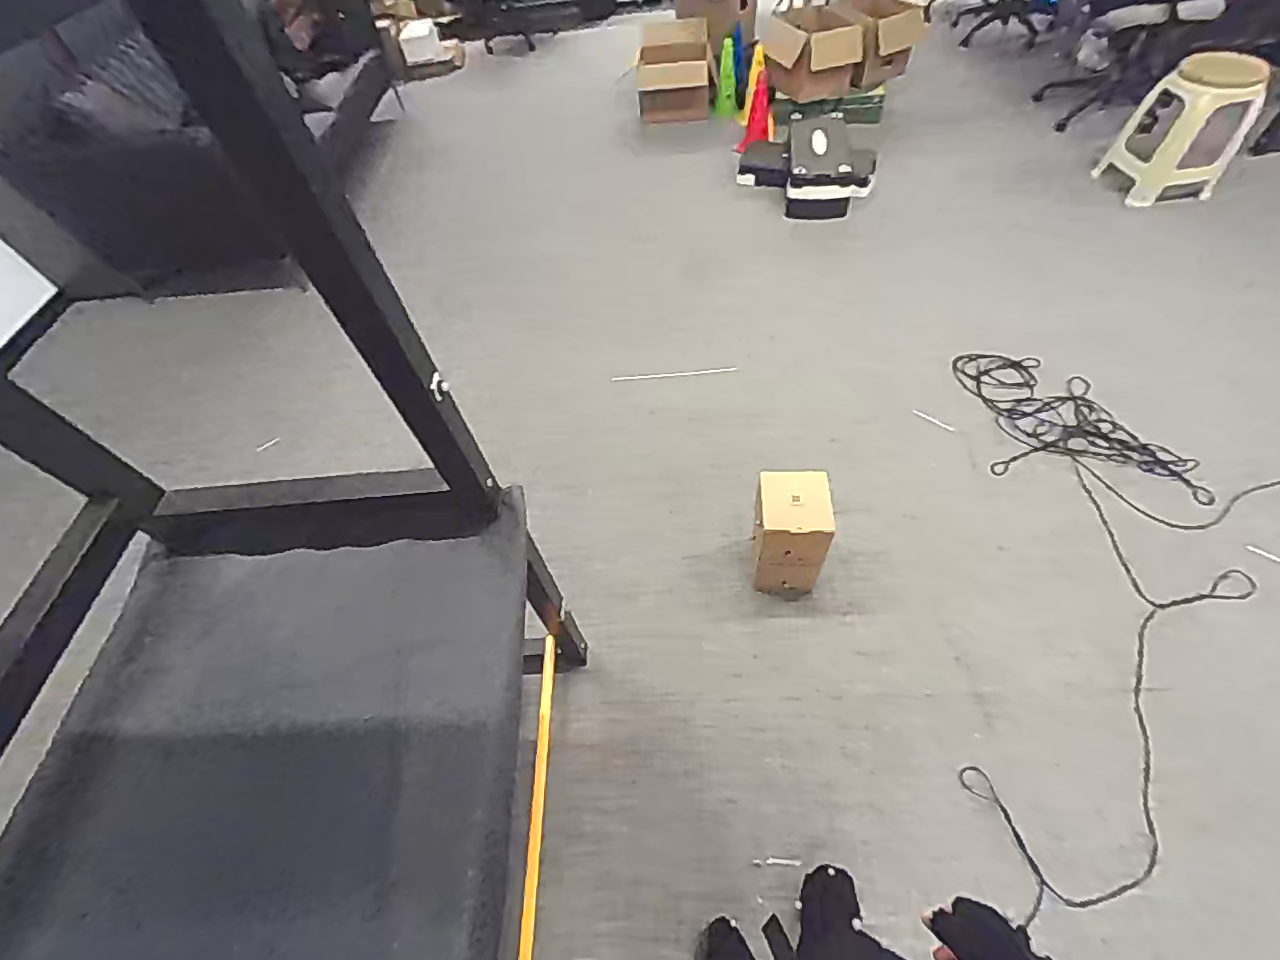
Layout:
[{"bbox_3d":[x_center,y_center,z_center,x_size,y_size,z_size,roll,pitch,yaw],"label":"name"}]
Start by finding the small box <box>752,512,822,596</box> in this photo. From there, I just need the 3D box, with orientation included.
[{"bbox_3d":[0.404,0.207,1.511,0.168,0.176,0.179,1,55,8],"label":"small box"}]
